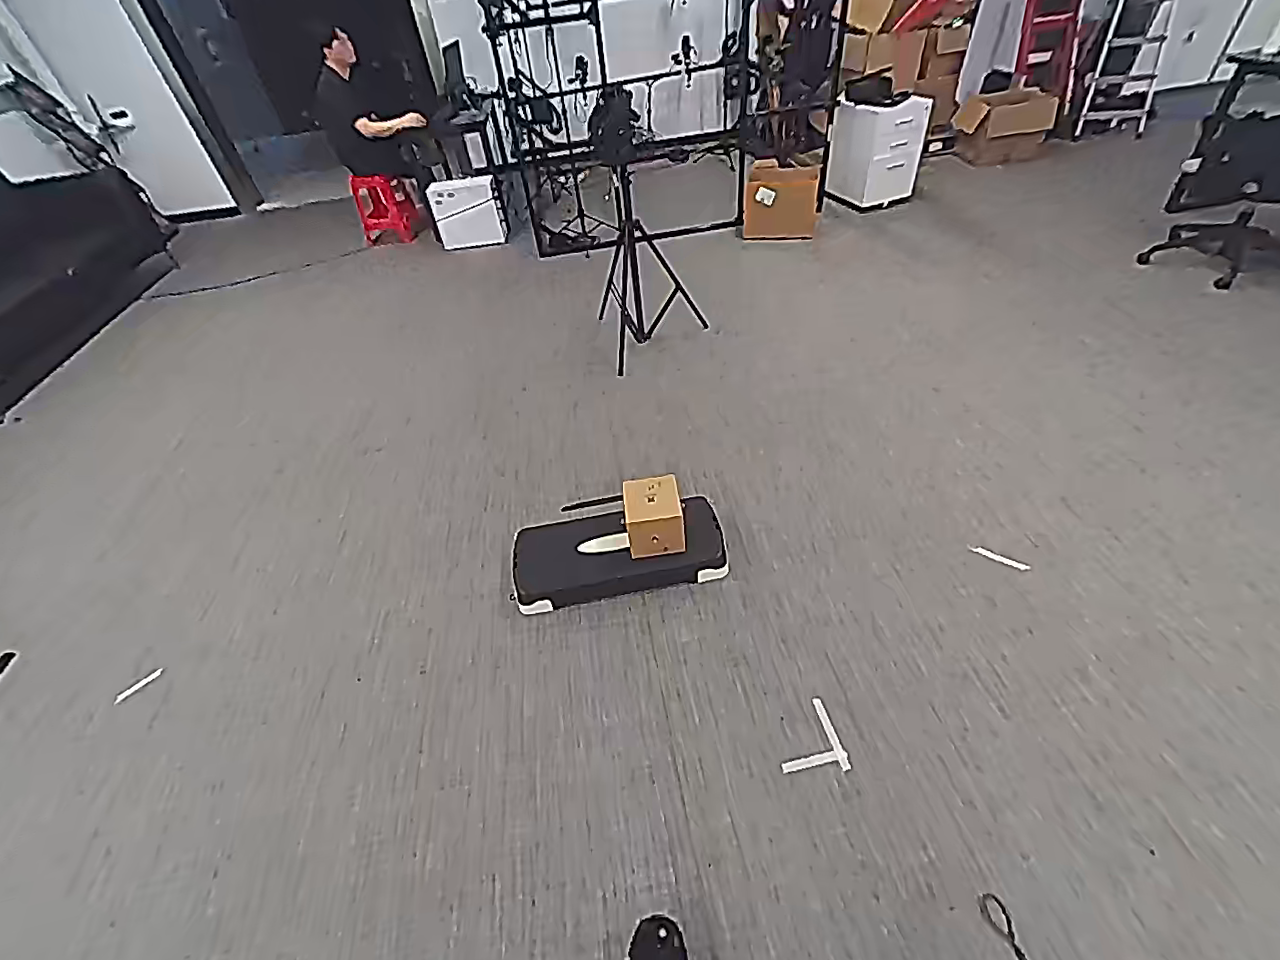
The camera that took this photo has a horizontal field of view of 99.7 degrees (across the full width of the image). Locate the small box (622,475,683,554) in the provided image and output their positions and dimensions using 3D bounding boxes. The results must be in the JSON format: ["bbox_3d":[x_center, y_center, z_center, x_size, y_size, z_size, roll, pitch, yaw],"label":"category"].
[{"bbox_3d":[0.039,0.112,1.652,0.168,0.176,0.179,-7,43,0],"label":"small box"}]
